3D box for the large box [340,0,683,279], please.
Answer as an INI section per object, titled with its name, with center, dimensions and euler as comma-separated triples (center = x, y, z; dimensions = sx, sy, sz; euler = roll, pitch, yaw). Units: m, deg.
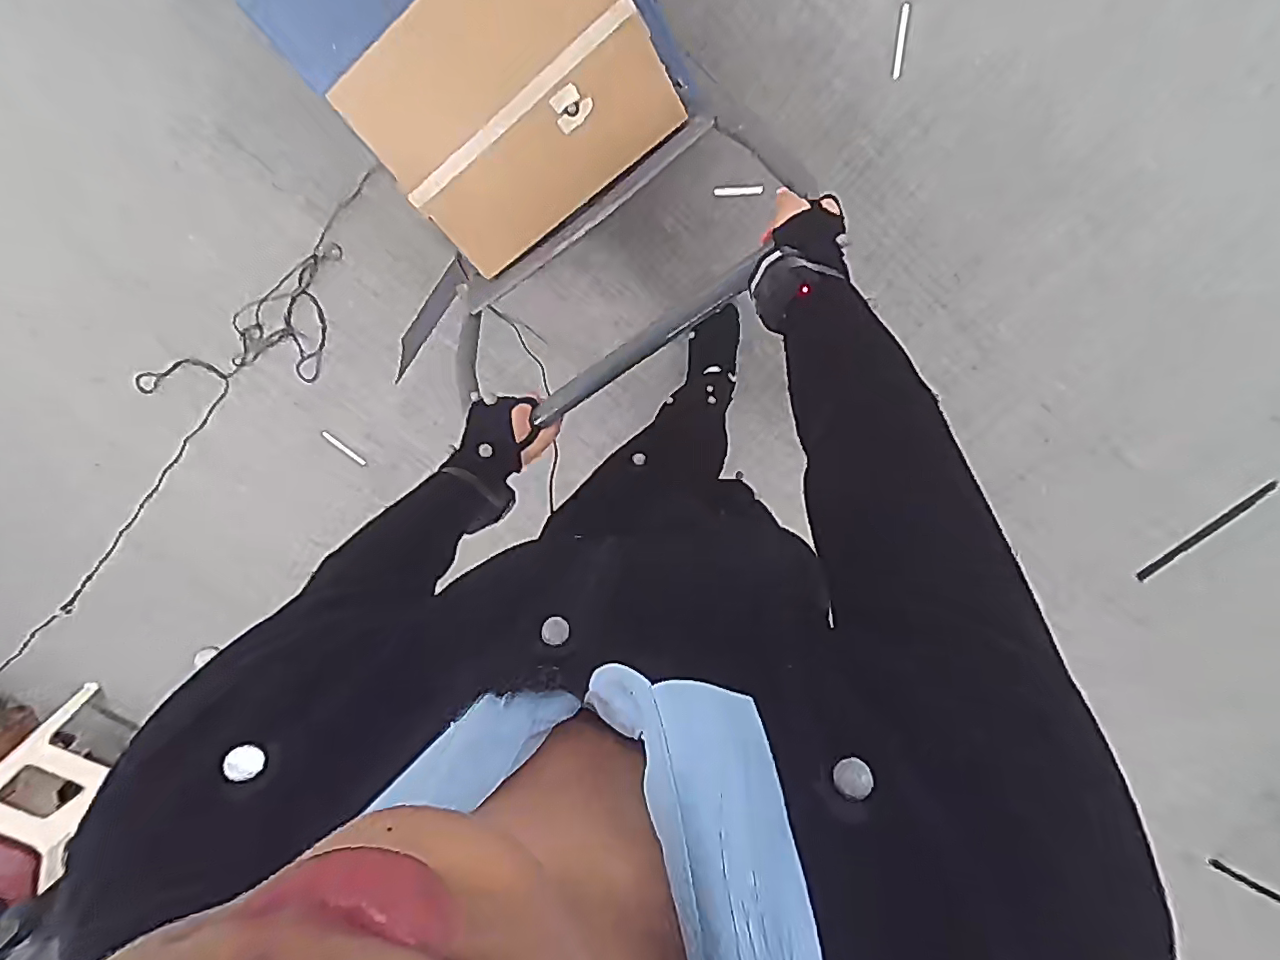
[large box]
center = -0.199, -0.622, 0.899
dimensions = 0.408, 0.320, 0.320
euler = -34, 126, 15
